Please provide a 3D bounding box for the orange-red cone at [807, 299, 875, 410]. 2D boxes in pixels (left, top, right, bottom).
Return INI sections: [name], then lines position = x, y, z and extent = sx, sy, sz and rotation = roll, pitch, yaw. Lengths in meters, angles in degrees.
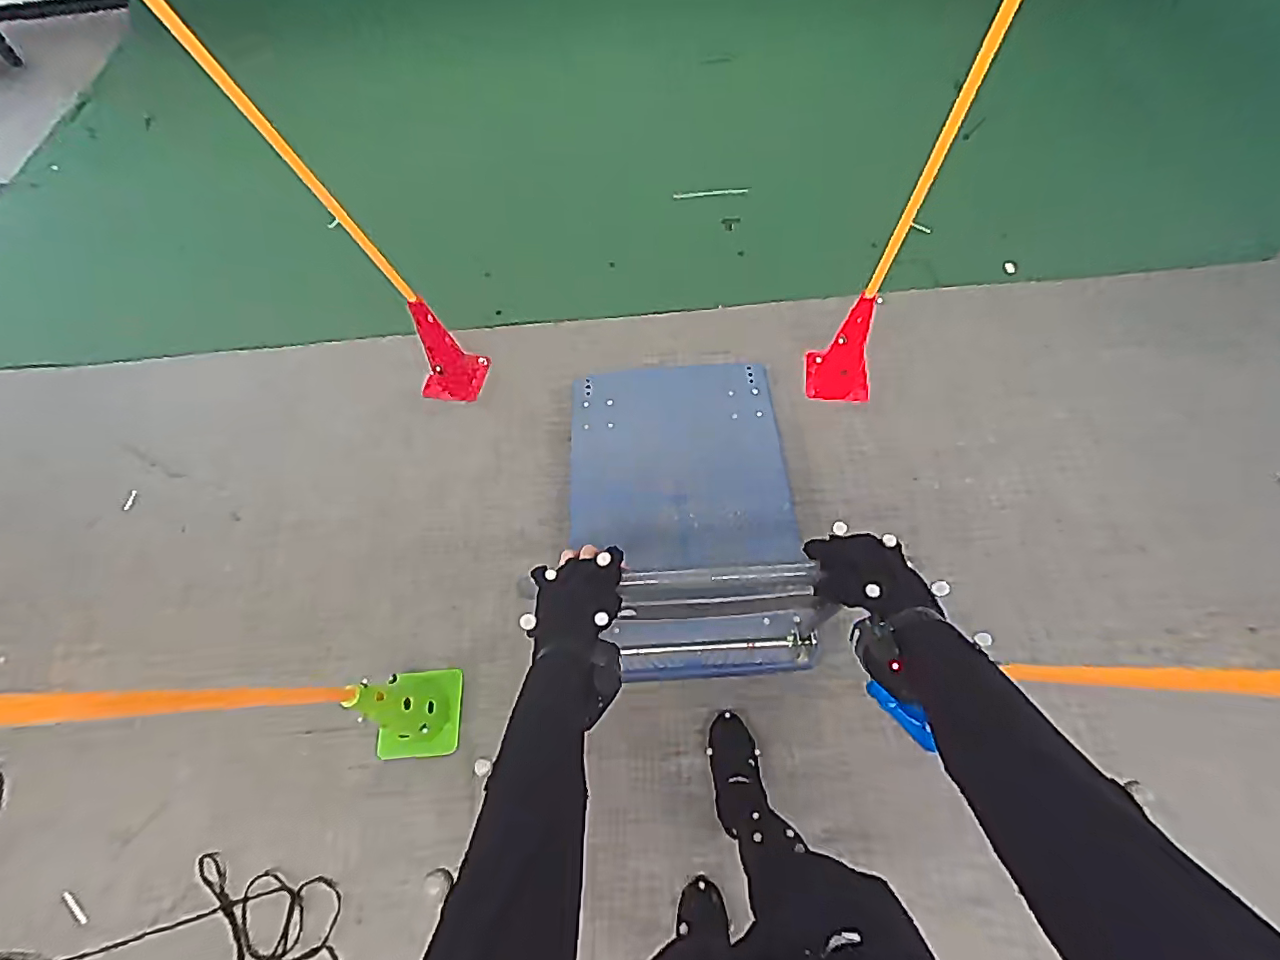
[orange-red cone]
position = 0.641, -0.398, 1.640
extent = 0.198, 0.360, 0.199
rotation = 5, 62, 7
